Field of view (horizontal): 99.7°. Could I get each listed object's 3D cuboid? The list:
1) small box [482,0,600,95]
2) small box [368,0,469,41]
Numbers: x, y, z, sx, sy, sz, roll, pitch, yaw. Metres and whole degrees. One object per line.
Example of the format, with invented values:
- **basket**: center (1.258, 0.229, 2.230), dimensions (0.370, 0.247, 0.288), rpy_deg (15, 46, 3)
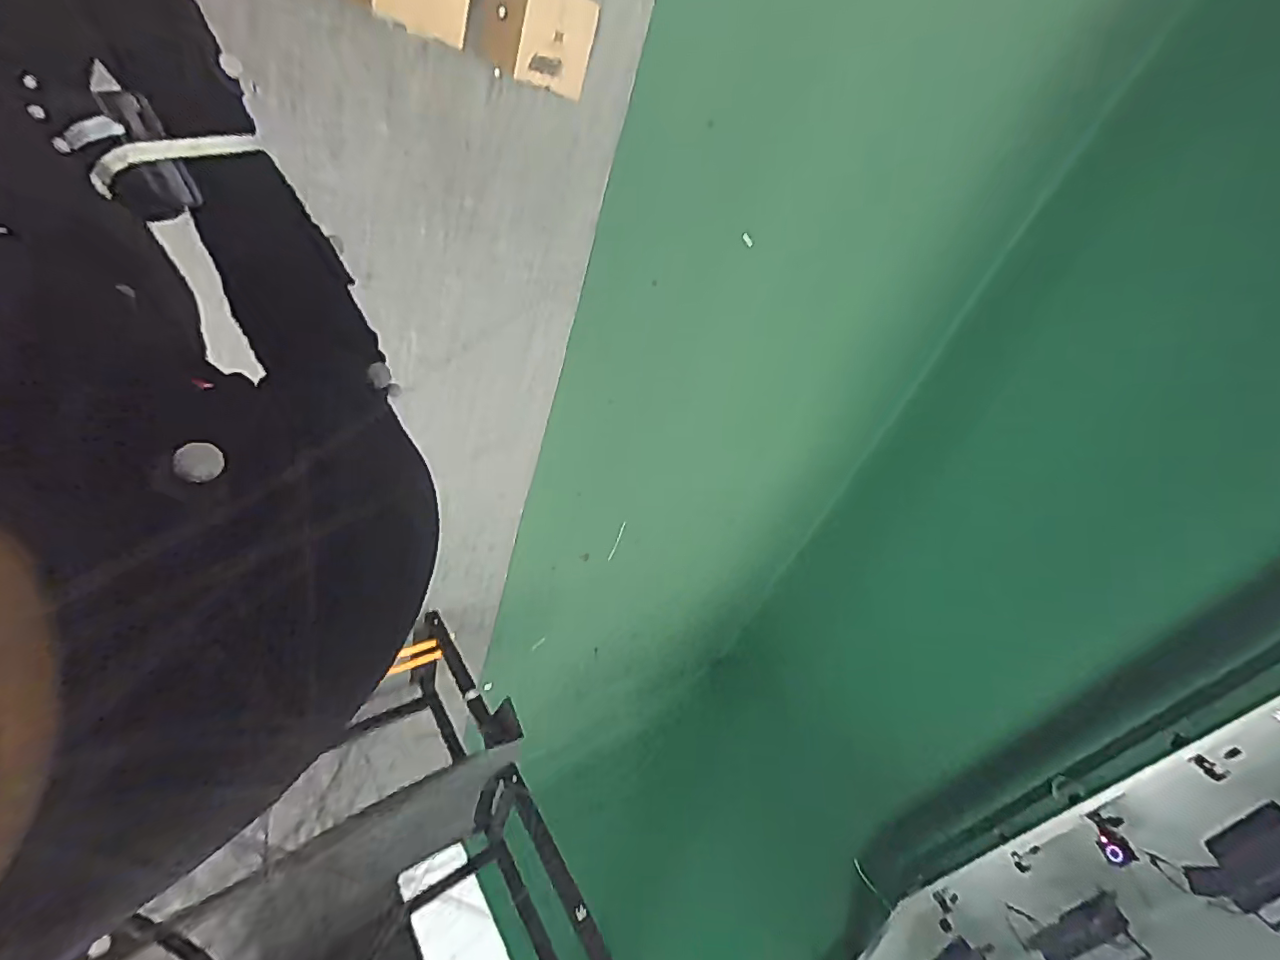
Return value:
- **small box**: center (-0.216, -0.959, 1.140), dimensions (0.168, 0.176, 0.179), rpy_deg (-11, 137, -41)
- **small box**: center (-0.410, -0.930, 0.956), dimensions (0.168, 0.176, 0.179), rpy_deg (-11, 138, -42)
